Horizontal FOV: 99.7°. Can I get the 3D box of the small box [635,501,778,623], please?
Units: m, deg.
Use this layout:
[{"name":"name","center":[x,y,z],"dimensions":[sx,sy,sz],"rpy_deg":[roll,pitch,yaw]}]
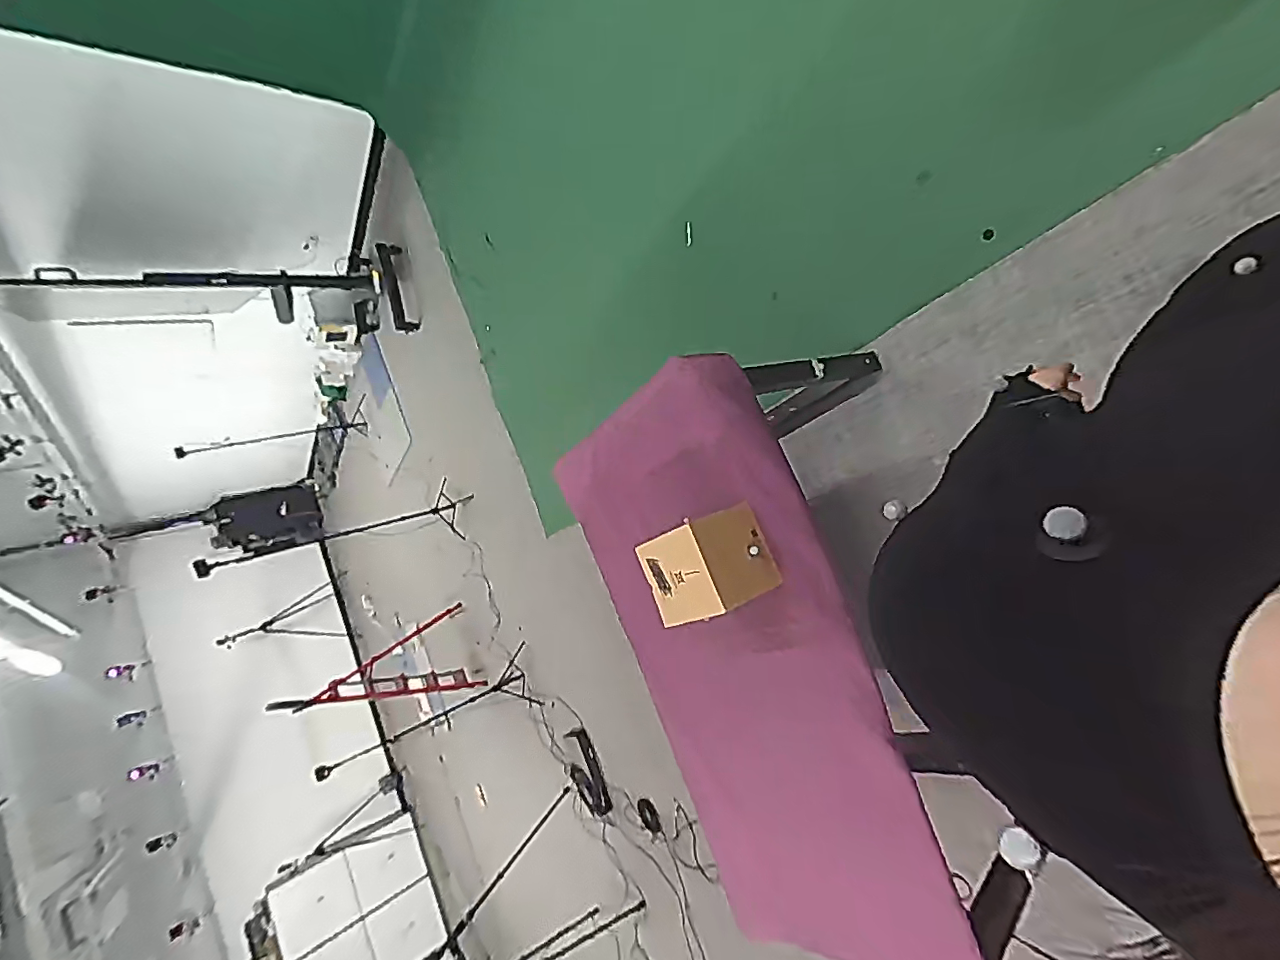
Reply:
[{"name":"small box","center":[0.126,0.155,1.027],"dimensions":[0.179,0.176,0.168],"rpy_deg":[-32,77,50]}]
